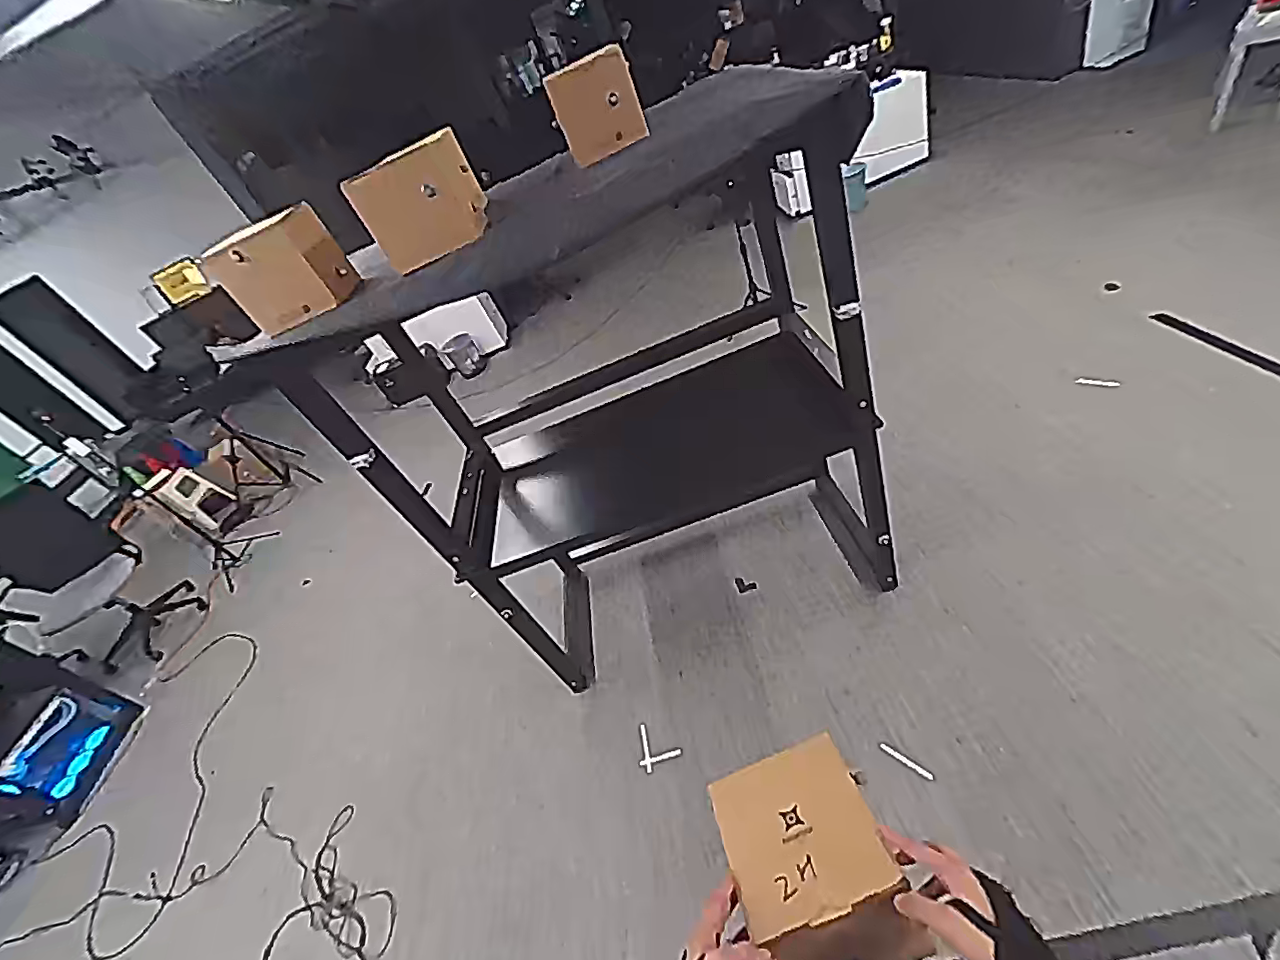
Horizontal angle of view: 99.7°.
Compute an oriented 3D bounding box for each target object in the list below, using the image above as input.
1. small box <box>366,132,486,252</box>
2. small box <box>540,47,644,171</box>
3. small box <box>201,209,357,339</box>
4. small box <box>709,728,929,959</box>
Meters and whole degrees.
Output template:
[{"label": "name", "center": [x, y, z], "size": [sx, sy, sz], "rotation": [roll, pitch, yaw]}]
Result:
[{"label": "small box", "center": [-0.471, -0.649, 1.221], "size": [0.179, 0.176, 0.168], "rotation": [-21, 39, 9]}, {"label": "small box", "center": [-0.101, -0.792, 1.162], "size": [0.168, 0.176, 0.179], "rotation": [-22, 39, 6]}, {"label": "small box", "center": [-0.700, -0.408, 1.077], "size": [0.168, 0.176, 0.179], "rotation": [-22, 38, 6]}, {"label": "small box", "center": [0.203, 0.441, 0.633], "size": [0.168, 0.176, 0.179], "rotation": [-27, 27, 4]}]
